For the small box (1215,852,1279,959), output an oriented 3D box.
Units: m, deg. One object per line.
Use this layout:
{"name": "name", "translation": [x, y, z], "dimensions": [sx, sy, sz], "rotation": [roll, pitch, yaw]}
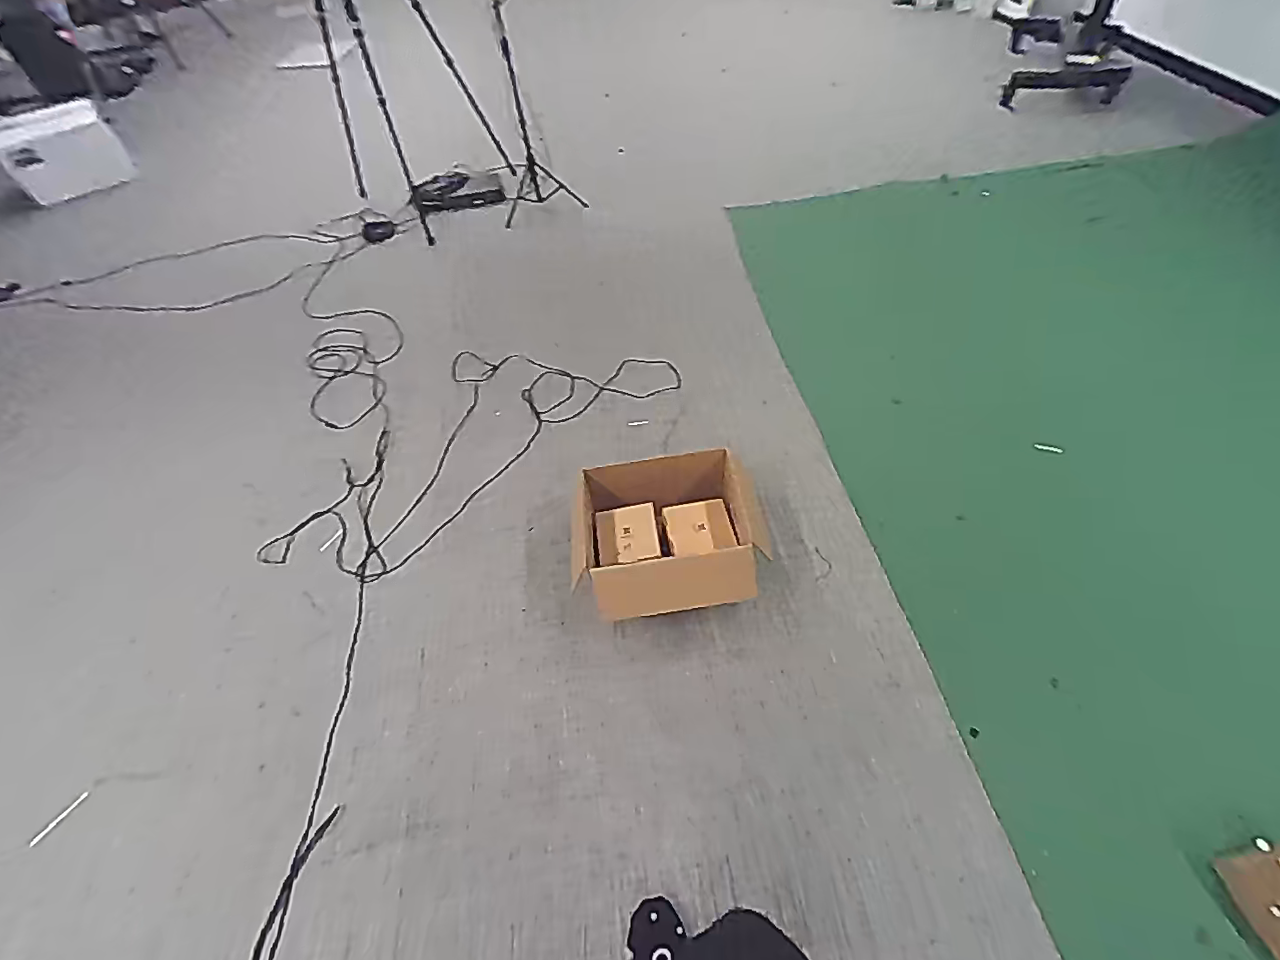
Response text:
{"name": "small box", "translation": [1.270, 0.809, 1.007], "dimensions": [0.168, 0.176, 0.179], "rotation": [-11, 52, -4]}
